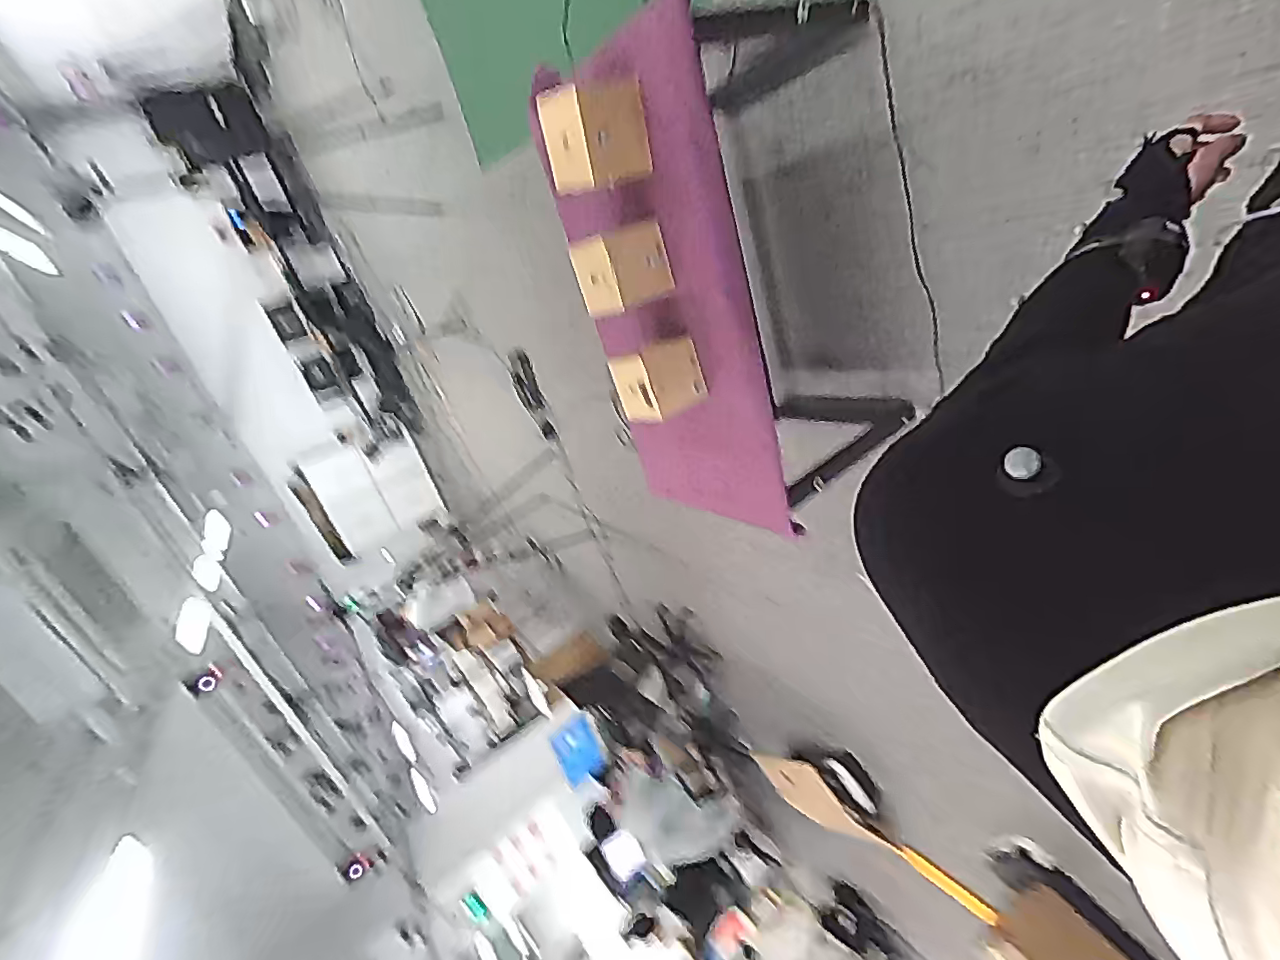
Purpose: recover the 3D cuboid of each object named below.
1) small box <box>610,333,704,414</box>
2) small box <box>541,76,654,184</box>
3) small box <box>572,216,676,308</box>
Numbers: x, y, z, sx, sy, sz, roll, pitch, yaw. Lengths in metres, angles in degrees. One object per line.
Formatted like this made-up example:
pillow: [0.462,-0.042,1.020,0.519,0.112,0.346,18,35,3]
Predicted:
small box: [0.054,-0.286,1.450,0.179,0.176,0.168,14,128,56]
small box: [-0.090,-0.778,1.204,0.168,0.176,0.179,28,141,47]
small box: [-0.039,-0.541,1.354,0.179,0.176,0.168,16,131,54]
